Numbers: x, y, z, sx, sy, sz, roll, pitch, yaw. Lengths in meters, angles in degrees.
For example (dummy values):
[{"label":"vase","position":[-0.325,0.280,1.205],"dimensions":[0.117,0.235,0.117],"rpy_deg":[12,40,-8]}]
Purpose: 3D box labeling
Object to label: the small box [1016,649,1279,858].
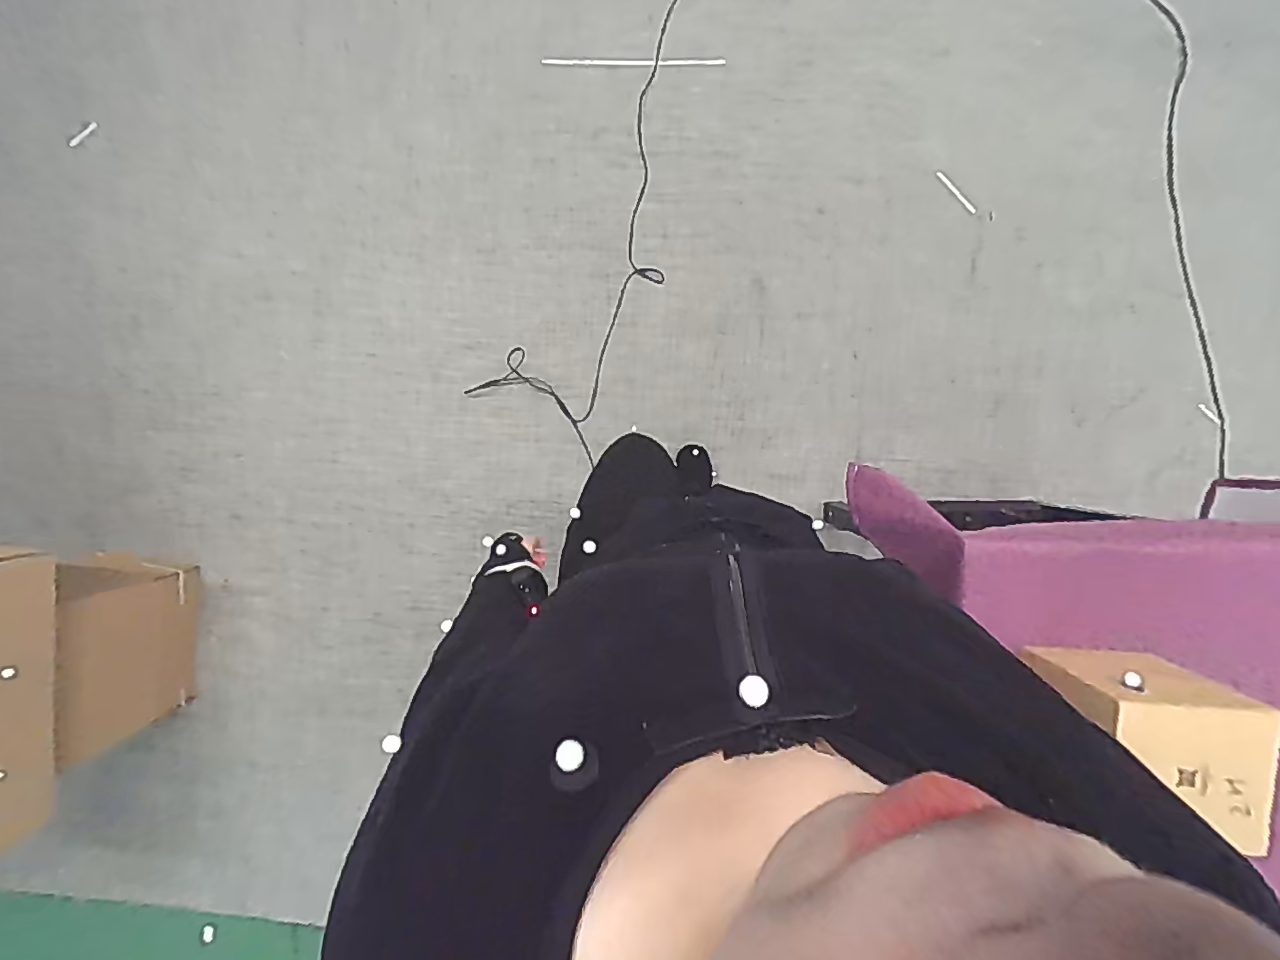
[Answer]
[{"label":"small box","position":[0.608,0.321,0.669],"dimensions":[0.179,0.176,0.168],"rpy_deg":[3,95,3]}]
